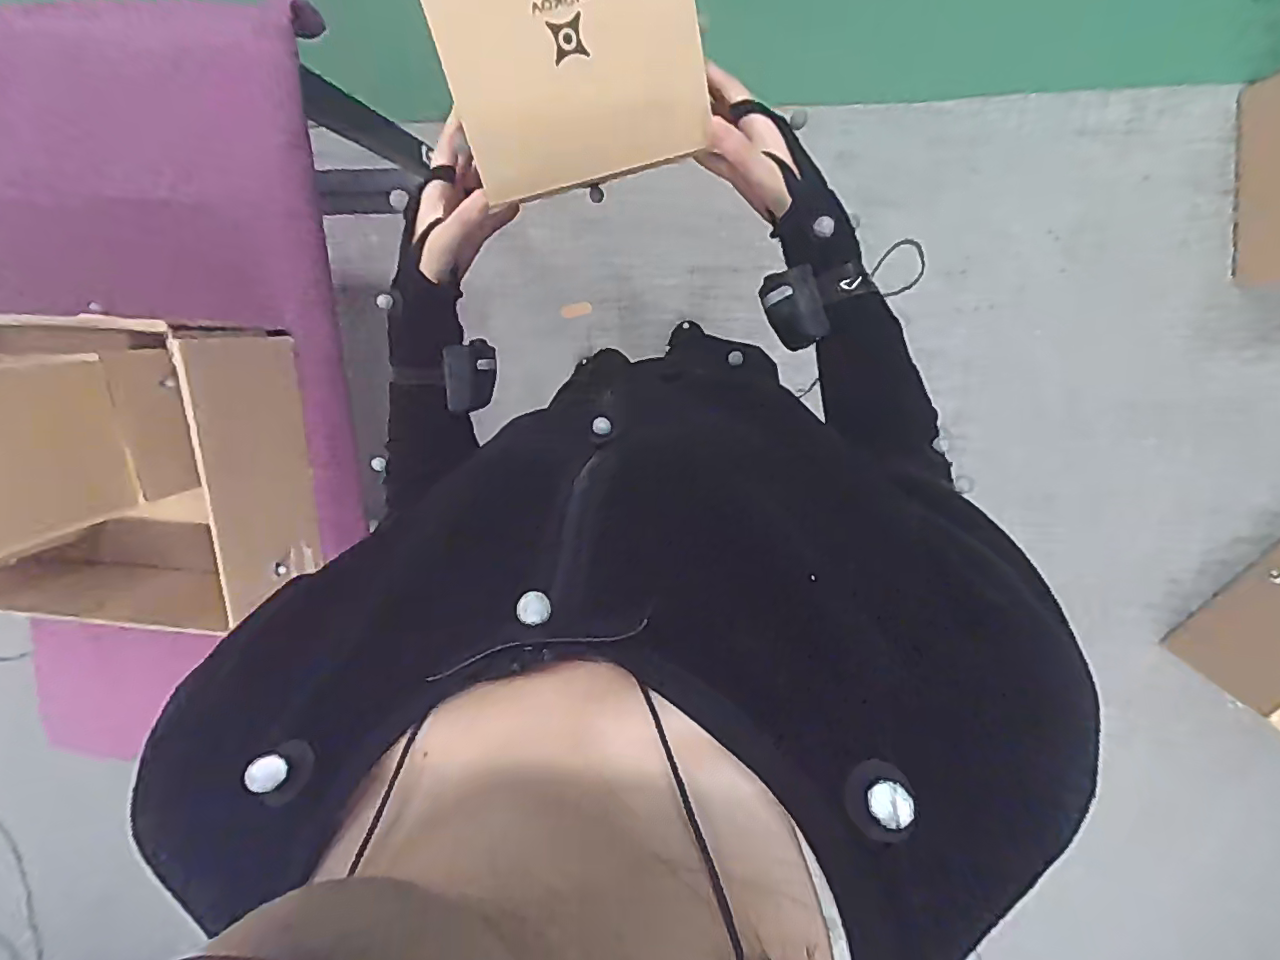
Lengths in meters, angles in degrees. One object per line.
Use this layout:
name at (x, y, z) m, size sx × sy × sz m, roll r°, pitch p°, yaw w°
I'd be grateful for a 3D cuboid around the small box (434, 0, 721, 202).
small box at (-0.046, -0.321, 0.403) m, size 0.168 × 0.176 × 0.179 m, roll -14°, pitch 117°, yaw 1°

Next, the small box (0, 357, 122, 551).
small box at (-0.668, -0.024, 0.527) m, size 0.168 × 0.176 × 0.179 m, roll 4°, pitch 106°, yaw 7°
